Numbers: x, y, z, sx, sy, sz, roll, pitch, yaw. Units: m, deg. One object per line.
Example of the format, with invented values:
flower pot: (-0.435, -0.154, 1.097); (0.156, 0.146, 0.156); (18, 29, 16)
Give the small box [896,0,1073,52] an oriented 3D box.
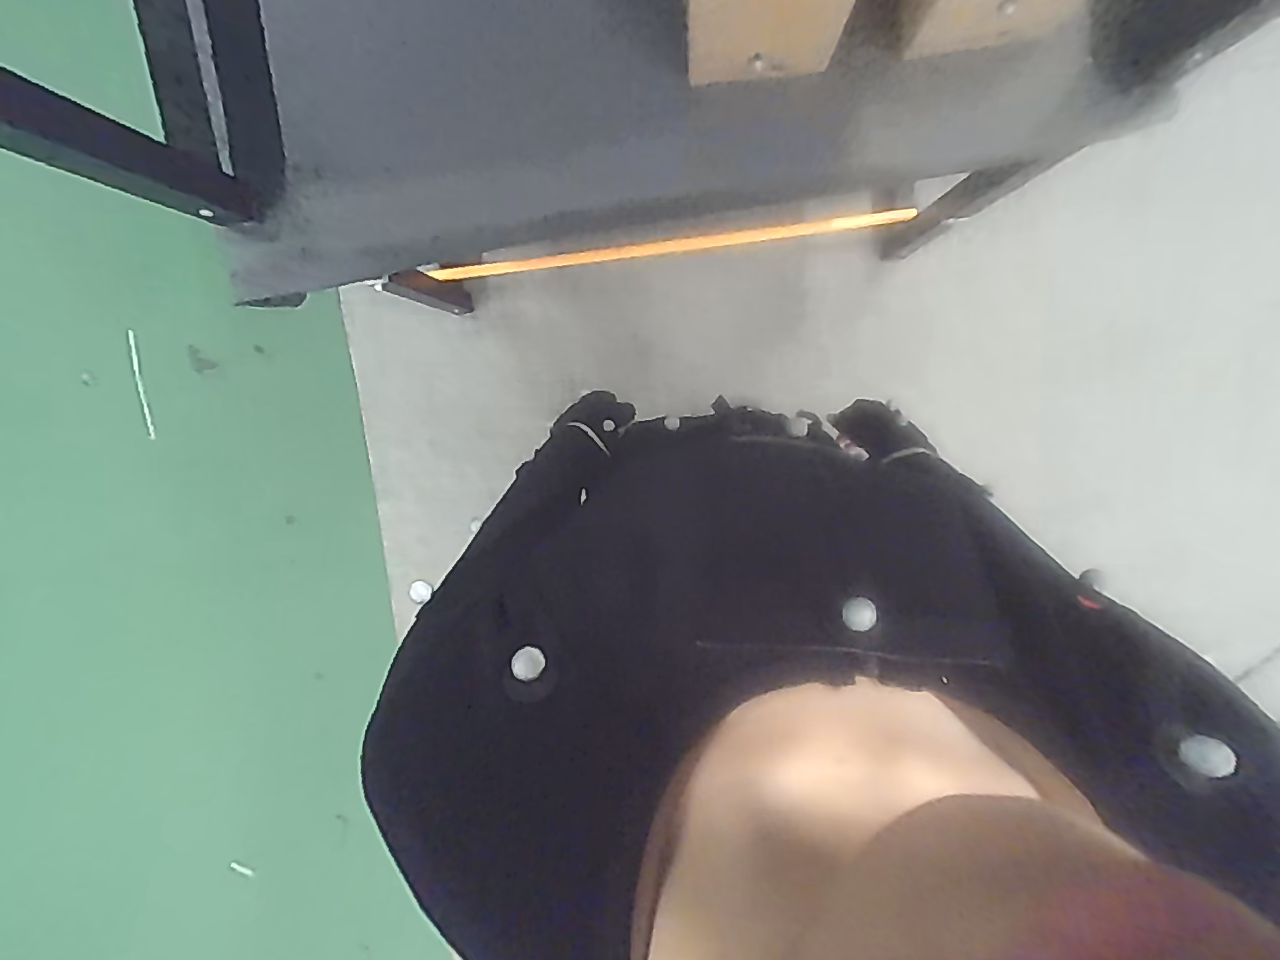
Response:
small box: (0.374, -0.578, 0.548); (0.168, 0.176, 0.179); (-6, 97, 6)
